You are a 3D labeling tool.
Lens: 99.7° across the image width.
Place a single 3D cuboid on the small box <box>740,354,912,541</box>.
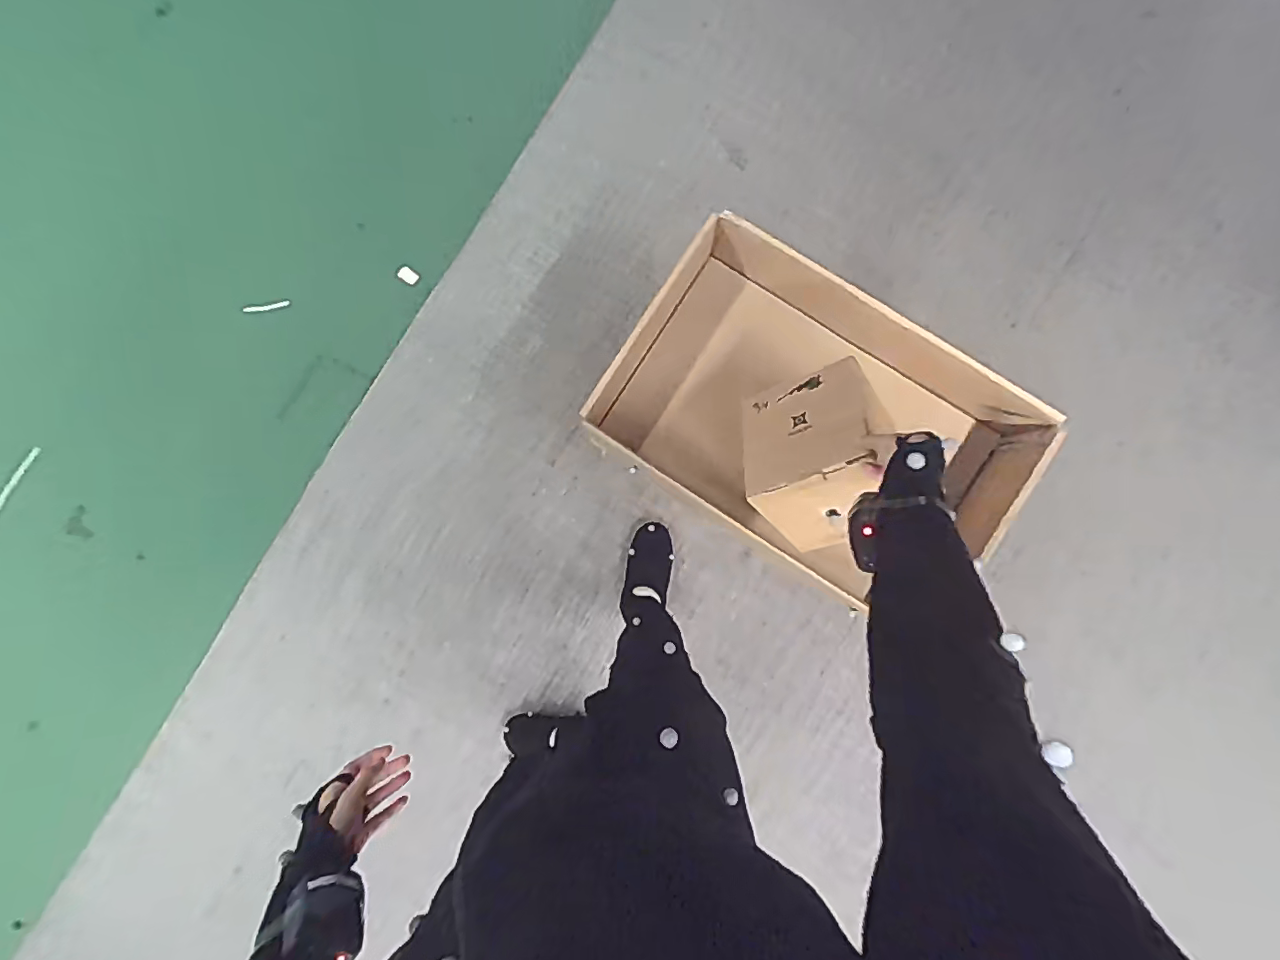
[{"bbox_3d":[0.252,-0.031,0.742,0.168,0.176,0.179,-21,47,32],"label":"small box"}]
